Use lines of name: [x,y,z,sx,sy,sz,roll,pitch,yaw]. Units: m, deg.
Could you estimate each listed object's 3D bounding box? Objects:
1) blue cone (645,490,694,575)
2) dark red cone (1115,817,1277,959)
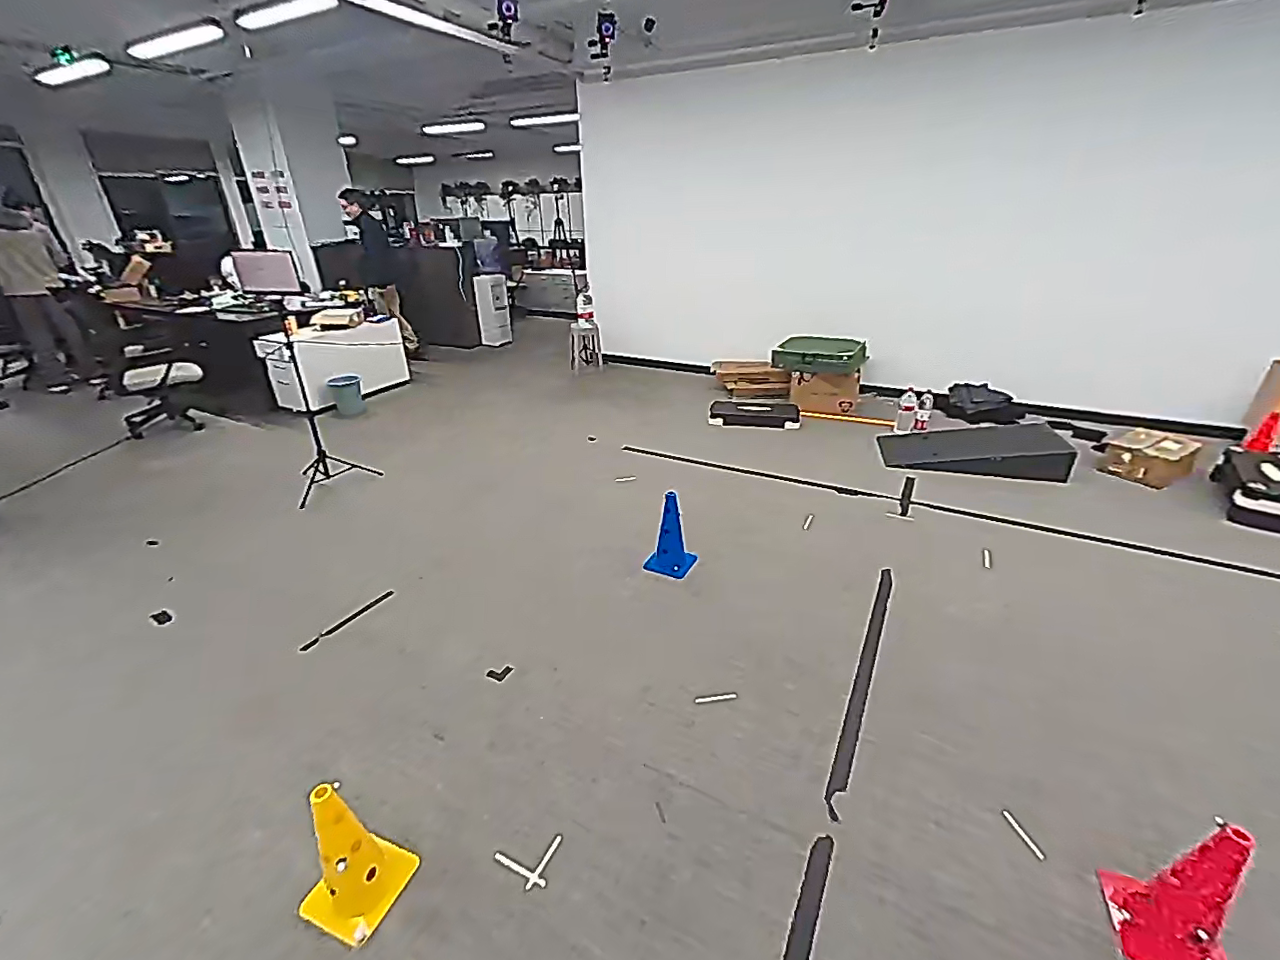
blue cone: [0.133,0.219,2.387,0.192,0.380,0.193,12,29,27]
dark red cone: [1.162,0.816,1.090,0.201,0.394,0.202,8,28,20]
